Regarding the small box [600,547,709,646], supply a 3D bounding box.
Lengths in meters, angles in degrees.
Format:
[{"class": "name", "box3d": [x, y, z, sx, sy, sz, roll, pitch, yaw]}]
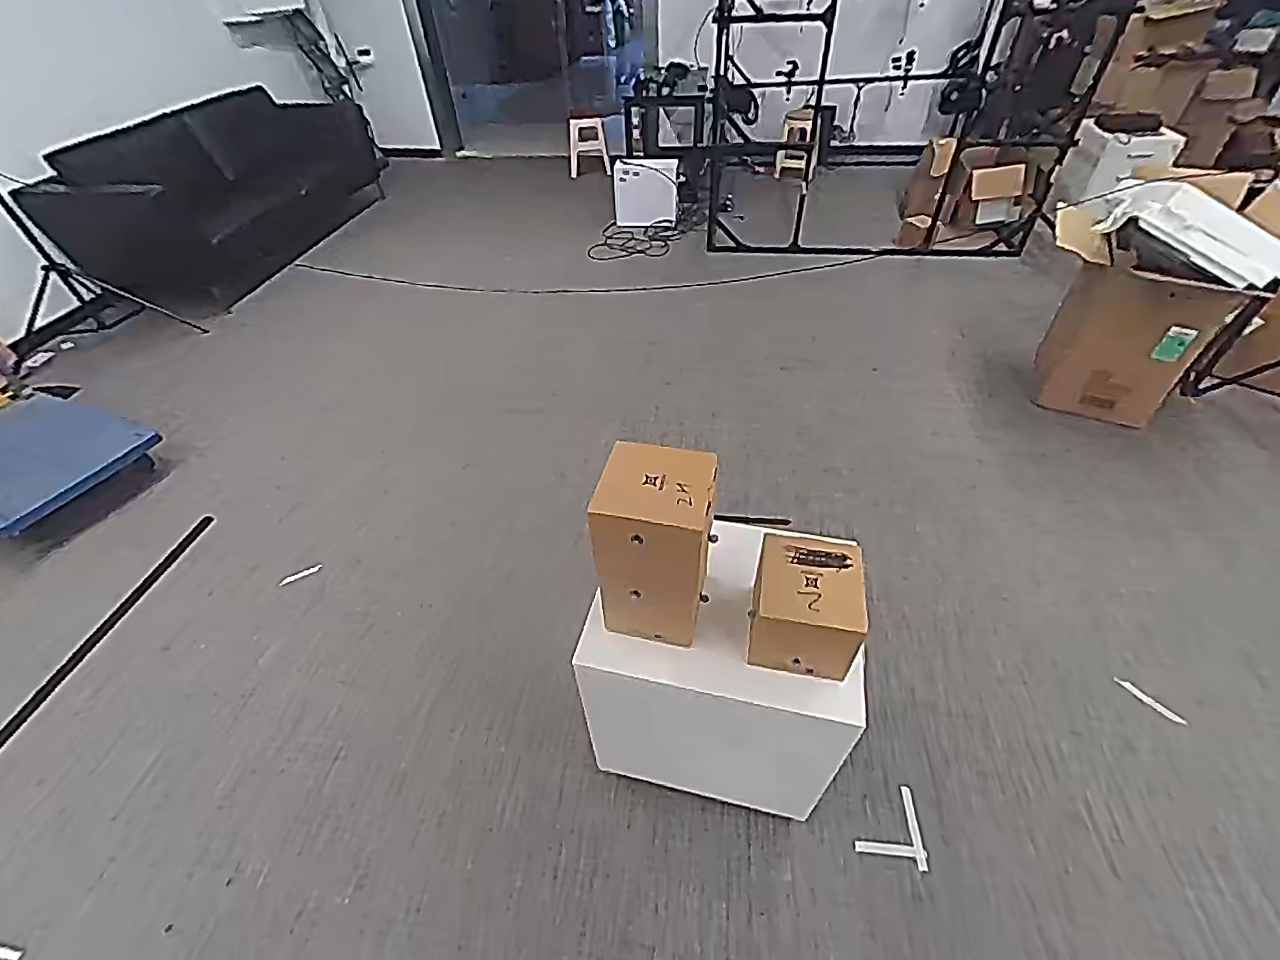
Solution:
[{"class": "small box", "box3d": [0.033, 0.176, 1.000, 0.168, 0.176, 0.179, 9, 45, 12]}]

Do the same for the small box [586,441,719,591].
[{"class": "small box", "box3d": [0.026, 0.061, 0.882, 0.179, 0.176, 0.168, 9, 46, 11]}]
